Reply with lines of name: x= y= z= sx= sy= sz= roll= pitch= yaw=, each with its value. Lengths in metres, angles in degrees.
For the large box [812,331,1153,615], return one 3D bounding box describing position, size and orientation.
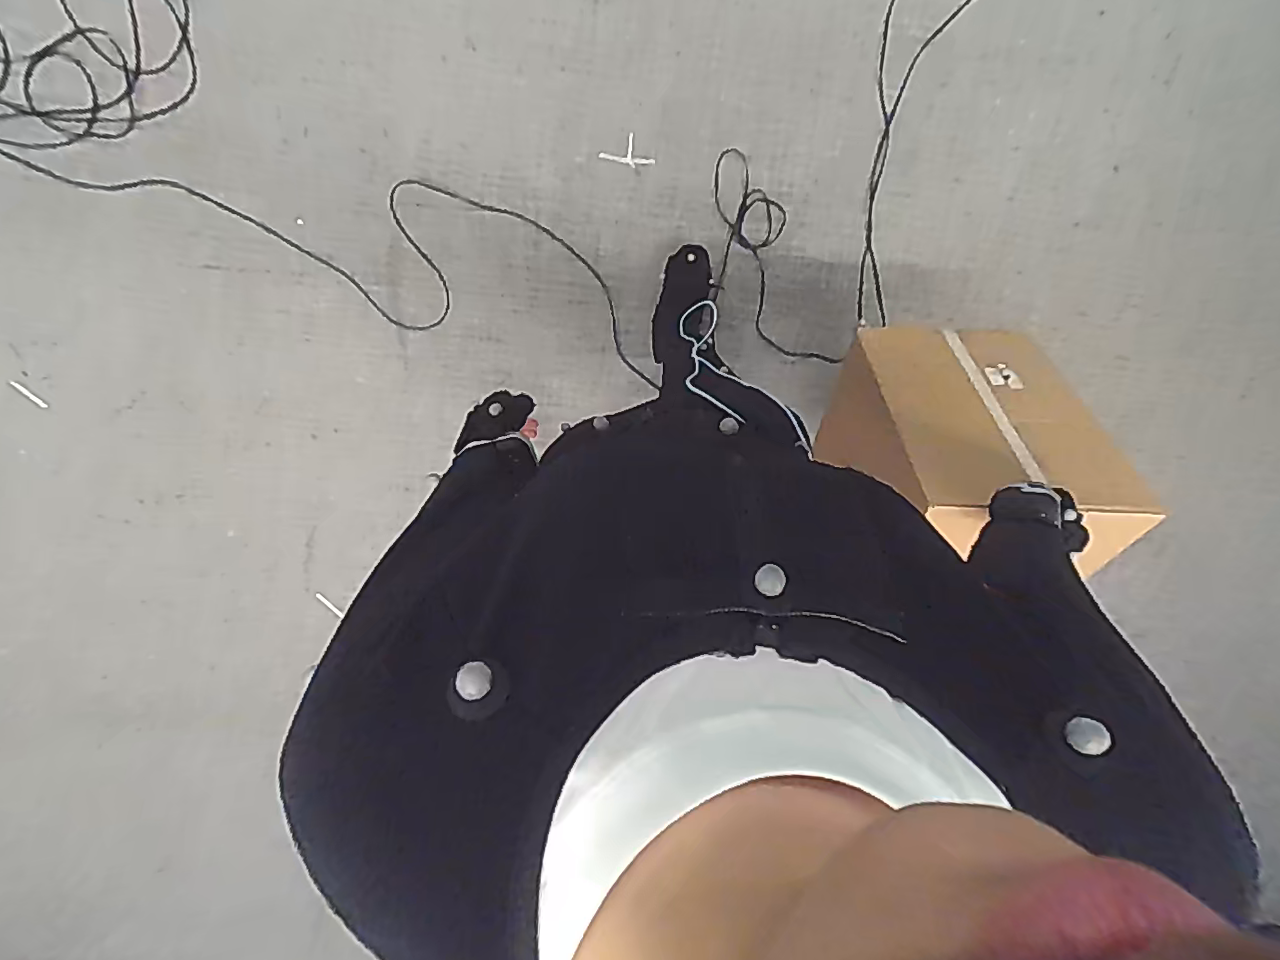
large box: x=0.526 y=-0.013 z=0.950 sx=0.320 sy=0.408 sz=0.320 roll=2 pitch=138 yaw=-1
